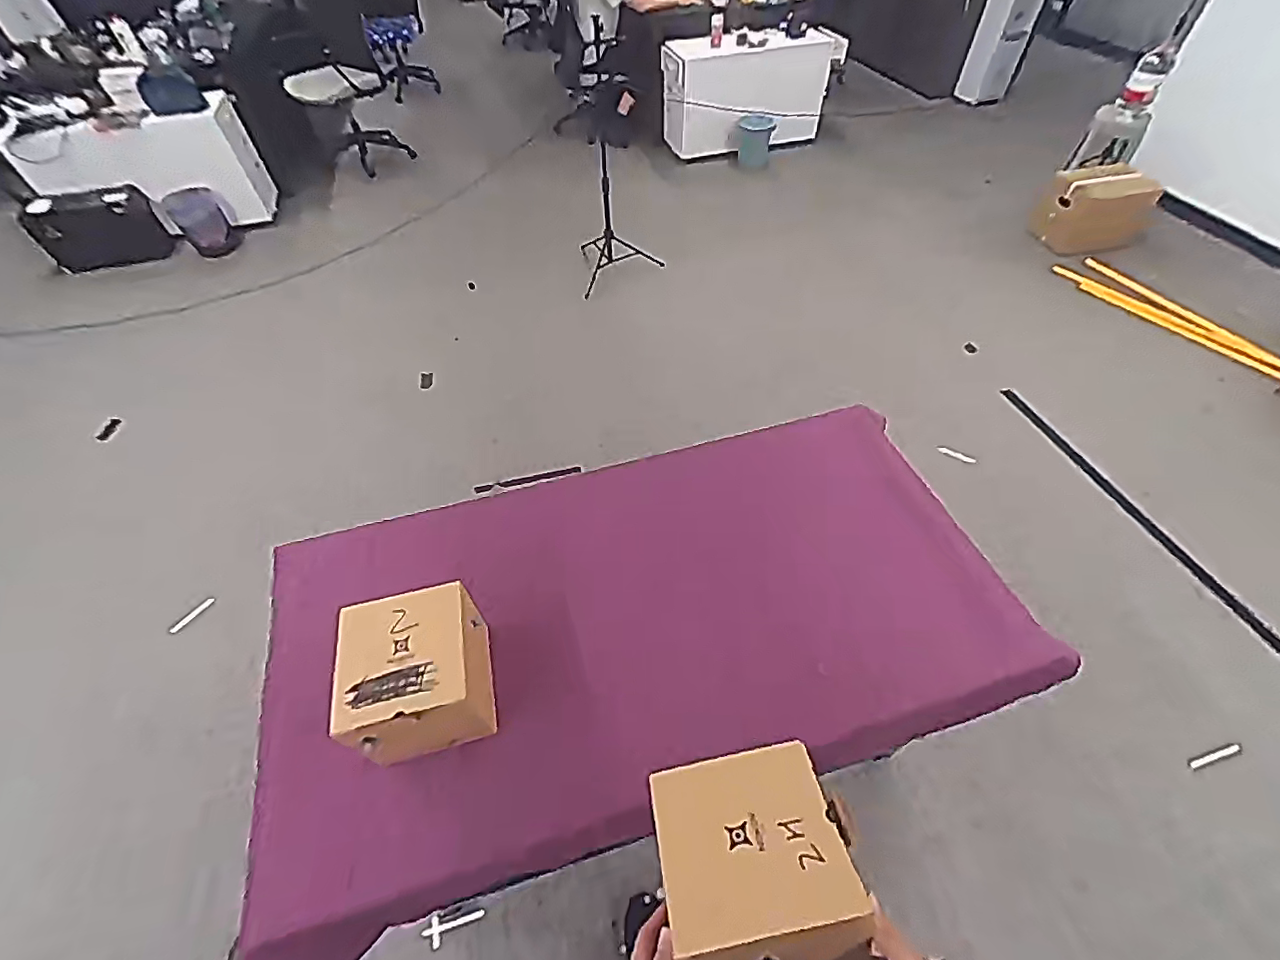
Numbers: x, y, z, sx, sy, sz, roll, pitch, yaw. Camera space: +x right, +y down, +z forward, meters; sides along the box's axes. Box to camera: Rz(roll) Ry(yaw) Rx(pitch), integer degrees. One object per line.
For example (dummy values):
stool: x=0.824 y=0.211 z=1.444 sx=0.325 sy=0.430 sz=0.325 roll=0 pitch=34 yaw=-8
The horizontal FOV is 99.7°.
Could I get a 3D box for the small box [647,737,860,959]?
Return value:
small box: x=0.114 y=0.410 z=0.569 sx=0.179 sy=0.176 sz=0.168 roll=-11 pitch=29 yaw=-1
